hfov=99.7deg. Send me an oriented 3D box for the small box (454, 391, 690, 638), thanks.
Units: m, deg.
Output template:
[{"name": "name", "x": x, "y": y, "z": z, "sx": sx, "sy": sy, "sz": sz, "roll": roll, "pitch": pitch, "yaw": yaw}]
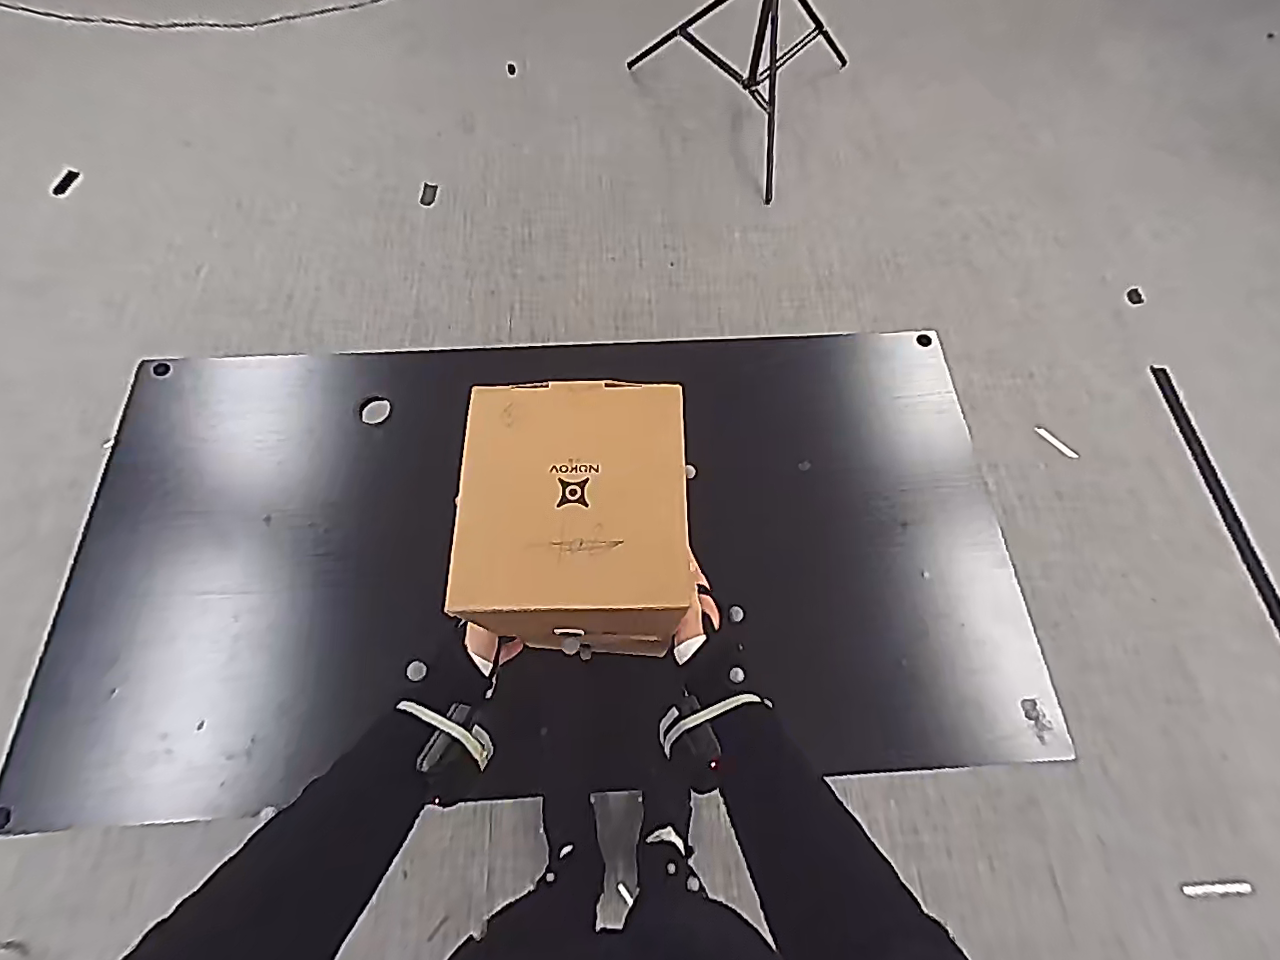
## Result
[{"name": "small box", "x": -0.048, "y": 0.040, "z": 0.475, "sx": 0.168, "sy": 0.176, "sz": 0.179, "roll": -1, "pitch": 69, "yaw": 0}]
